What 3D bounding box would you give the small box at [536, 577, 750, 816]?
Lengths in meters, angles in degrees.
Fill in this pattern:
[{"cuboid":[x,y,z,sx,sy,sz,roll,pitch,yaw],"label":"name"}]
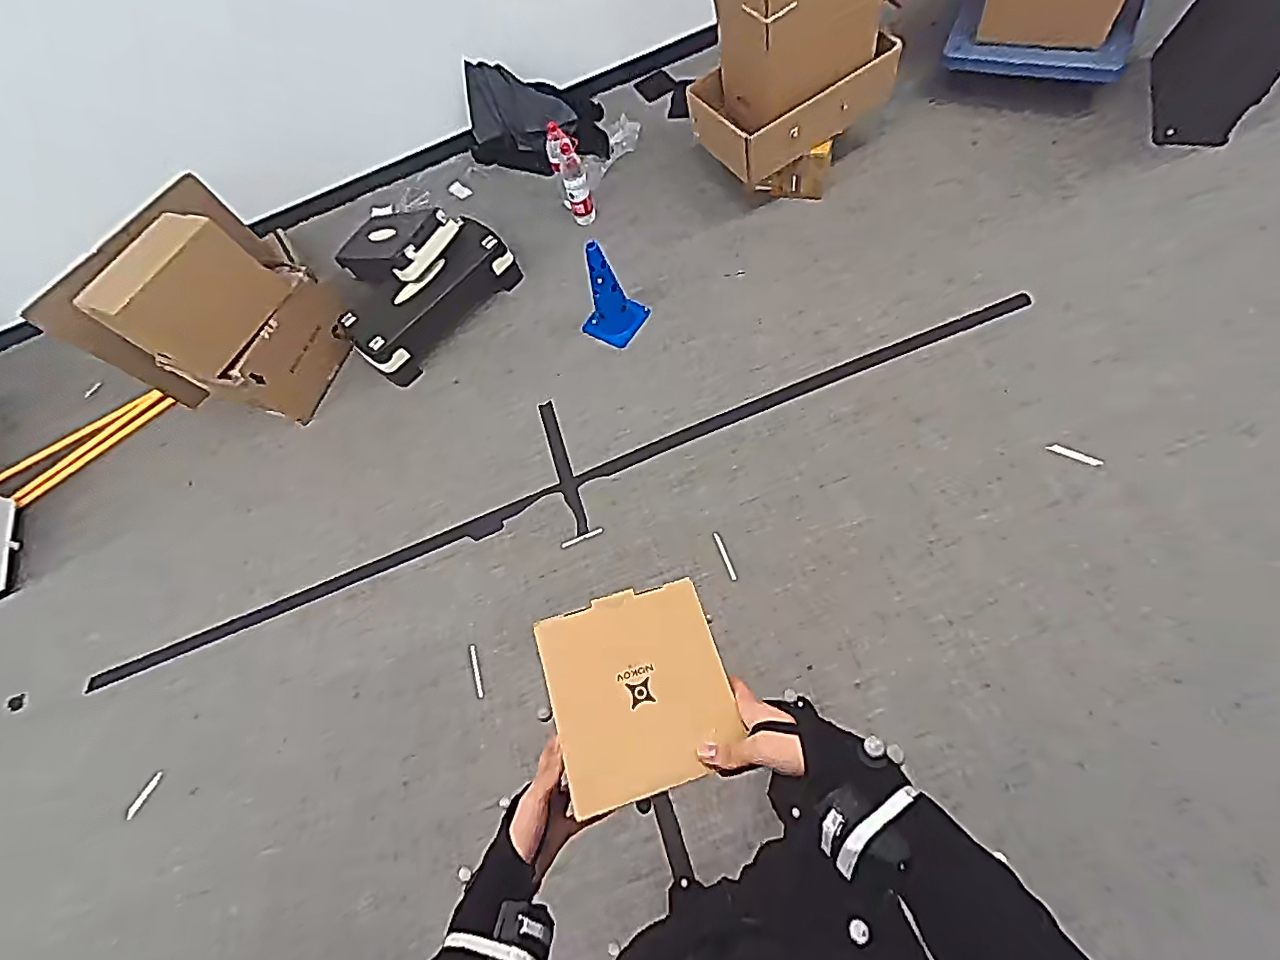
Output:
[{"cuboid":[-0.004,0.227,0.574,0.168,0.176,0.179,-14,63,-10],"label":"small box"}]
